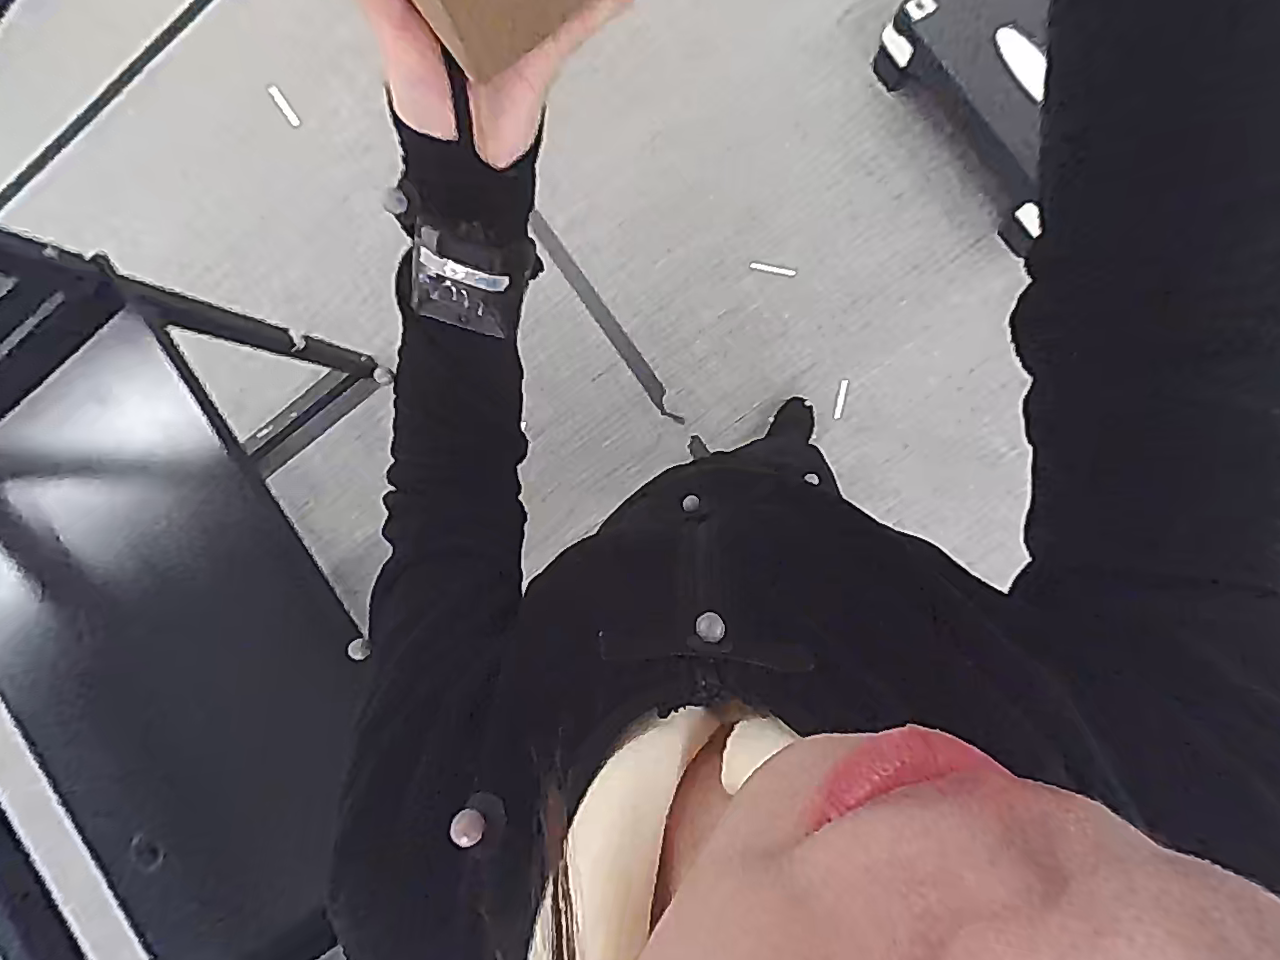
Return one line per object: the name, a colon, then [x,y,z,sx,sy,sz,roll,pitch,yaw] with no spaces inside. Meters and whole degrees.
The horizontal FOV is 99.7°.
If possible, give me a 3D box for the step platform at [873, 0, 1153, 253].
step platform: [0.865,-0.921,1.294,0.286,0.204,0.684,-30,86,7]
